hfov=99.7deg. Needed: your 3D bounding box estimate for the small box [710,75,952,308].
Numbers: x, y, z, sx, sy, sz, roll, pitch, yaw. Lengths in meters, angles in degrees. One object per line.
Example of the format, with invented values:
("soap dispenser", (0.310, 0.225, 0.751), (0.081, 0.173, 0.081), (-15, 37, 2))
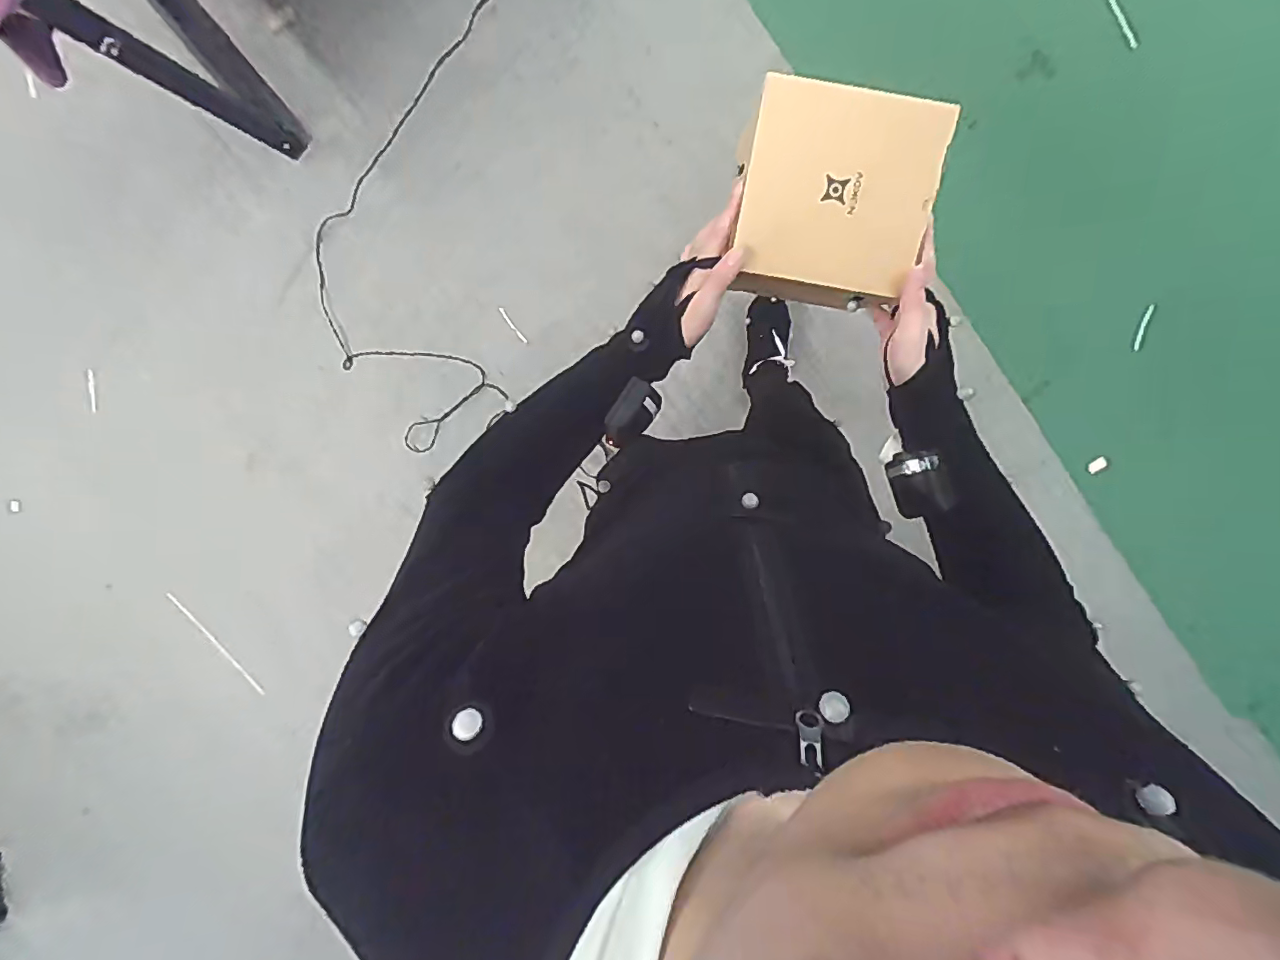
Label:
("small box", (0.178, -0.281, 0.568), (0.179, 0.176, 0.168), (9, 104, -2))
